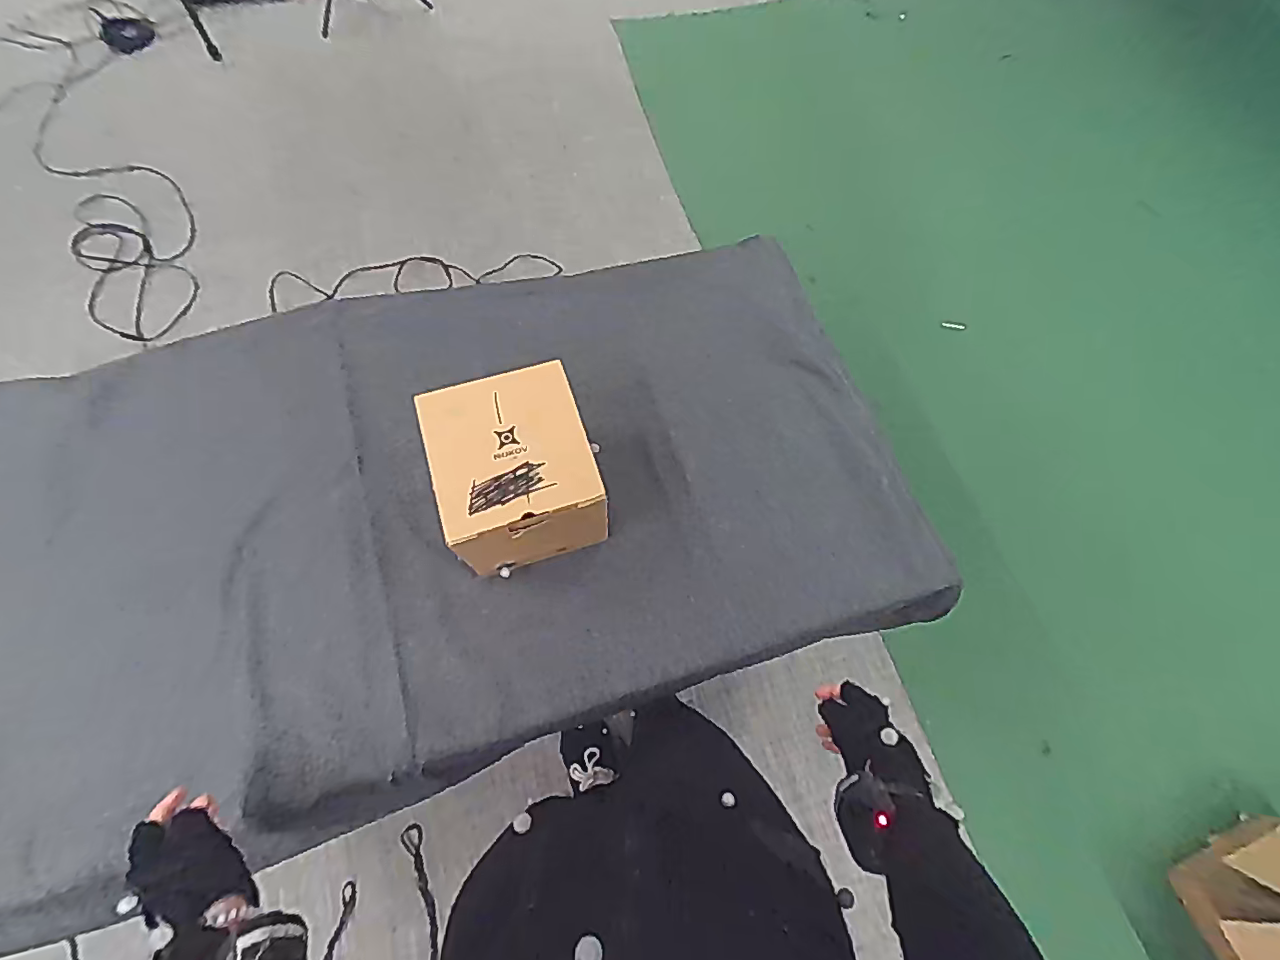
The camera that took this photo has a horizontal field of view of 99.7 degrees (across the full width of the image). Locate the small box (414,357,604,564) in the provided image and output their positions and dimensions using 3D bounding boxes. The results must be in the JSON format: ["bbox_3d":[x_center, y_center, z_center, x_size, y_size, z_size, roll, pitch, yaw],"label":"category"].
[{"bbox_3d":[-0.143,-0.011,0.641,0.168,0.176,0.179,-17,70,-9],"label":"small box"}]
